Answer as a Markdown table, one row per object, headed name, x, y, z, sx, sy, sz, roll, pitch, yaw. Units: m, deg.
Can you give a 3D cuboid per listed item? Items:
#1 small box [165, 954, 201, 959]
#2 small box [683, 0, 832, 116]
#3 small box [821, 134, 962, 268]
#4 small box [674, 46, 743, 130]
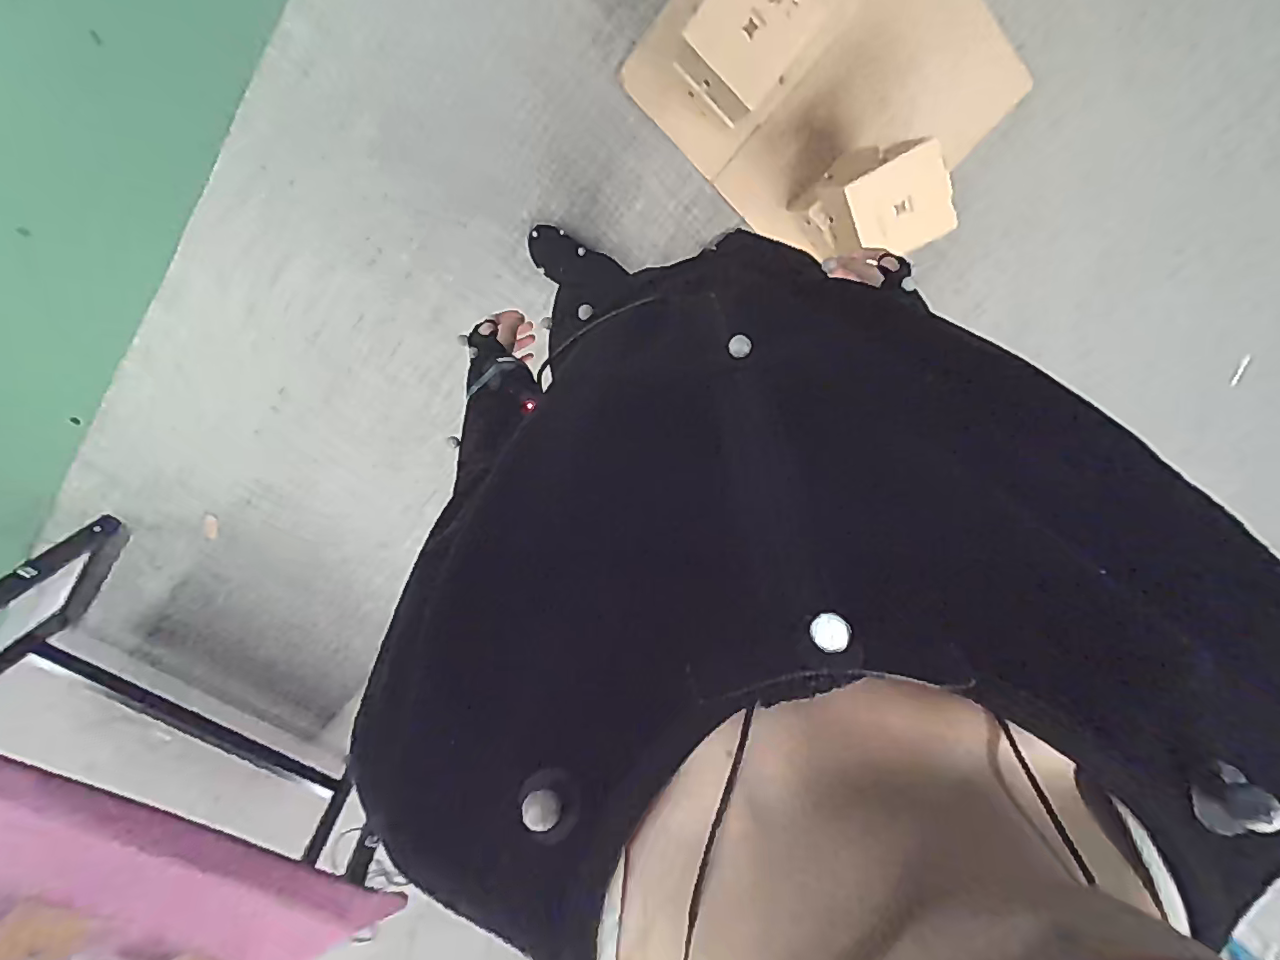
| name | x | y | z | sx | sy | sz | roll | pitch | yaw |
| --- | --- | --- | --- | --- | --- | --- | --- | --- | --- |
| small box | -1.200 | 1.358 | 1.376 | 0.168 | 0.176 | 0.179 | -32 | 112 | 13 |
| small box | 0.188 | -0.766 | 0.926 | 0.168 | 0.176 | 0.179 | 37 | 110 | -19 |
| small box | 0.481 | -0.539 | 1.049 | 0.179 | 0.176 | 0.168 | -25 | 116 | 11 |
| small box | 0.181 | -0.837 | 1.075 | 0.168 | 0.176 | 0.179 | 36 | 110 | -18 |
